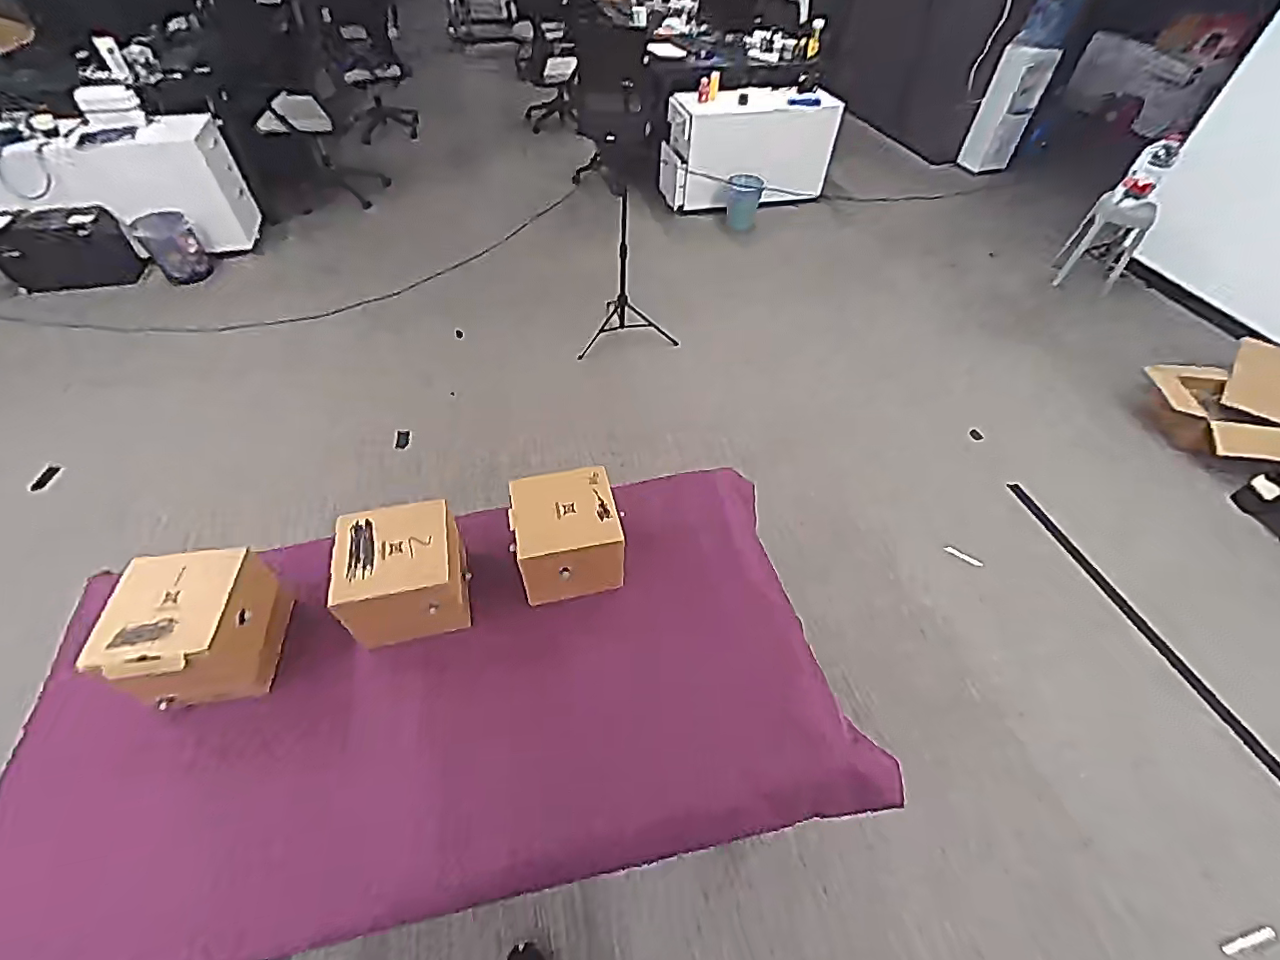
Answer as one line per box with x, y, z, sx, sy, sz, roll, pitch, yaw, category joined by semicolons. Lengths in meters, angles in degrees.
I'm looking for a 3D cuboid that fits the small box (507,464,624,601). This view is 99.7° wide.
-0.130;0.099;0.969;0.179;0.176;0.168;-10;53;-10;small box

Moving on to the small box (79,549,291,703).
-0.678;0.231;0.837;0.168;0.176;0.179;-5;50;-7;small box
